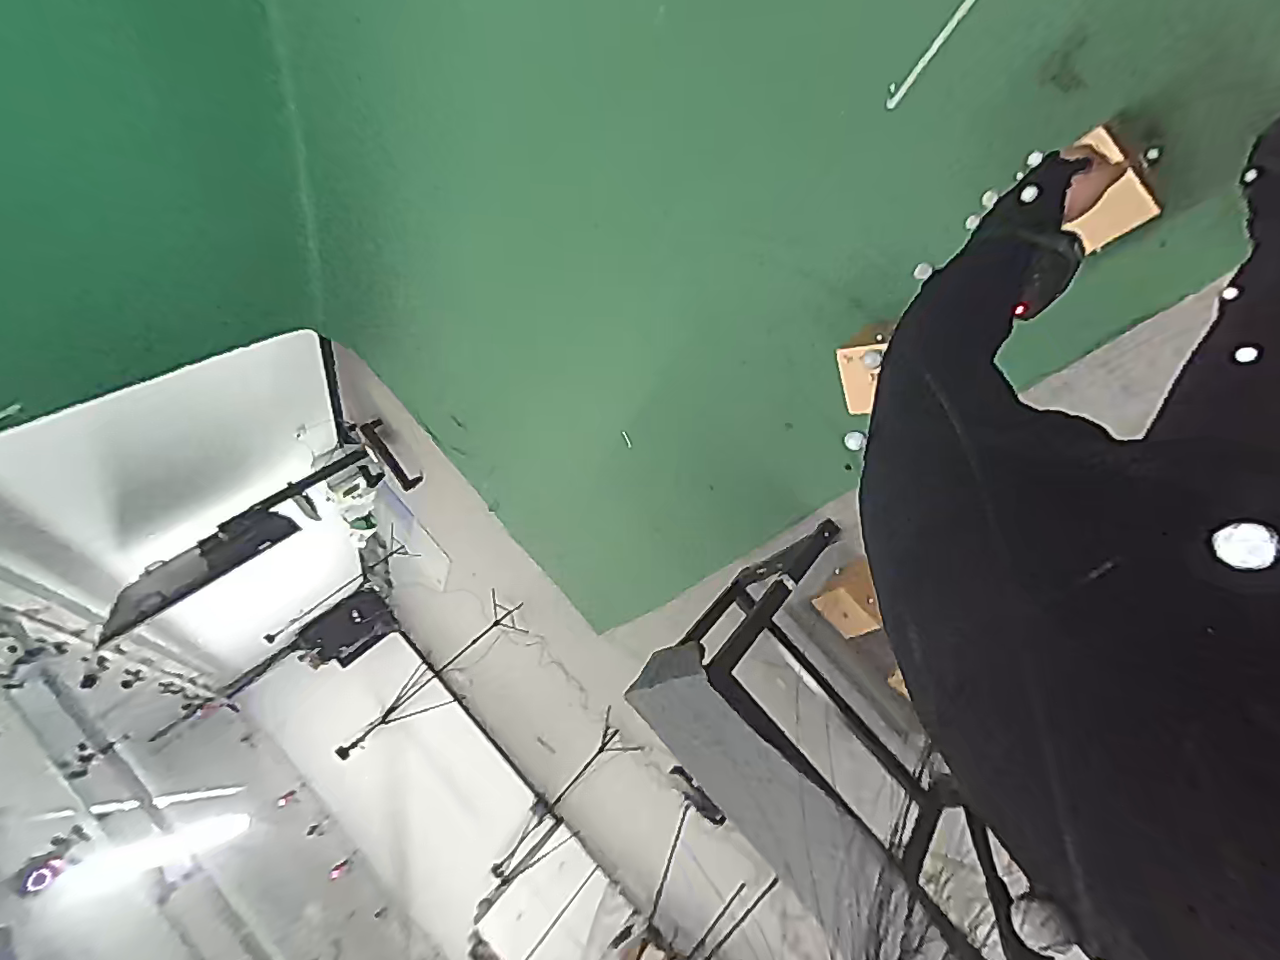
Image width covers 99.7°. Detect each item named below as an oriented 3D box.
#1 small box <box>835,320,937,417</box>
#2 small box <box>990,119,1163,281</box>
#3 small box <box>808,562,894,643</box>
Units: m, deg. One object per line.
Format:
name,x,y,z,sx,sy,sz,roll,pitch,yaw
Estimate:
small box,0.604,-0.269,1.317,0.168,0.176,0.179,5,125,46
small box,0.763,-0.488,0.946,0.168,0.176,0.179,52,144,-3
small box,0.706,0.407,1.799,0.179,0.176,0.168,47,144,6
